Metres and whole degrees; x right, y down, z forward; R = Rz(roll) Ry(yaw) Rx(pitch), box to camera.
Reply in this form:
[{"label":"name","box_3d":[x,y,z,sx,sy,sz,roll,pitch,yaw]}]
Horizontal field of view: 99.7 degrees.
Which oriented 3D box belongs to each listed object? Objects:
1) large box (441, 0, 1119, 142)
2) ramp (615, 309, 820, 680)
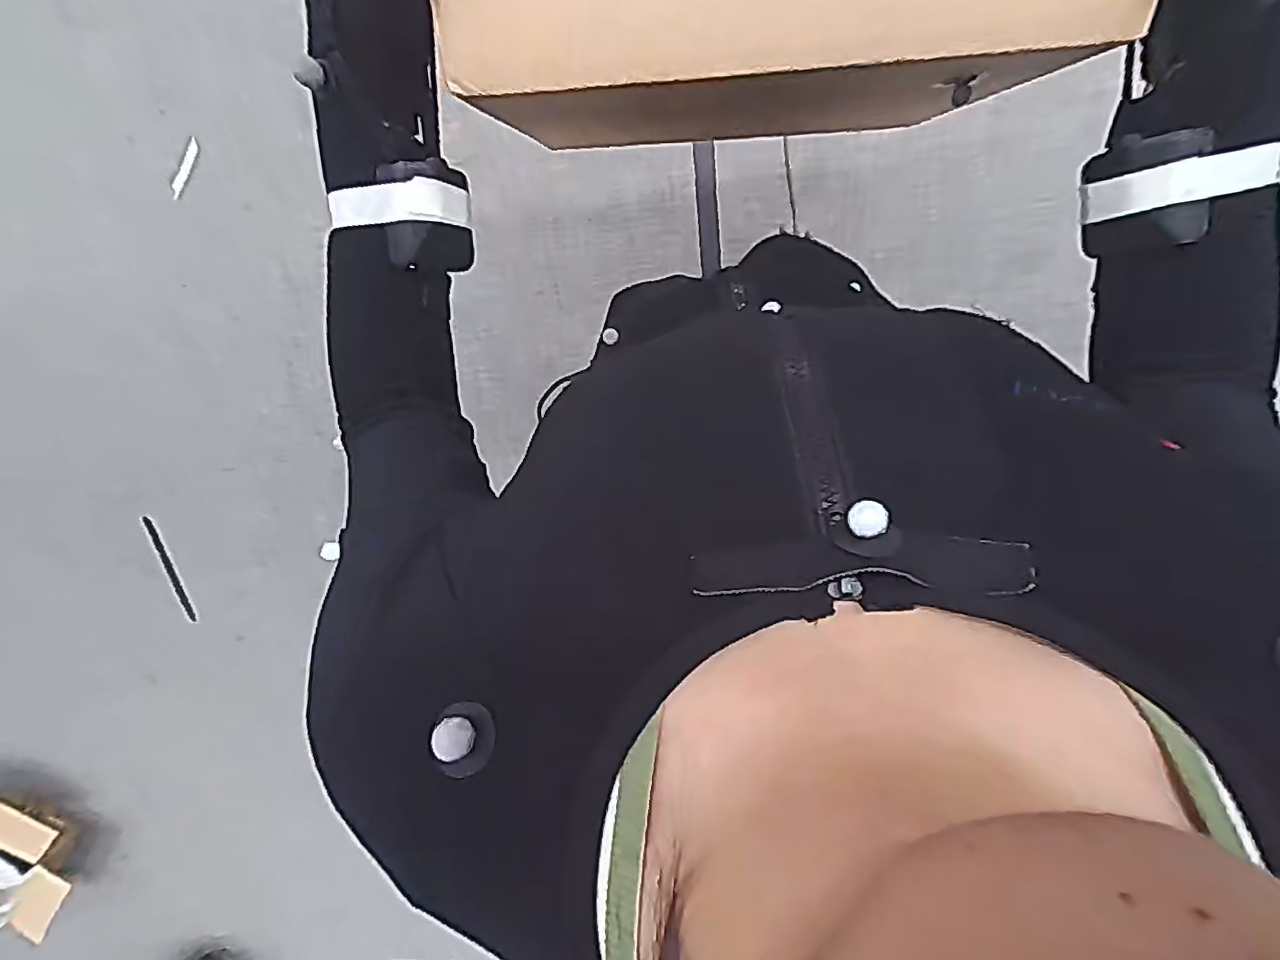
[{"label":"large box","box_3d":[0.078,-0.454,0.397,0.408,0.320,0.320,-2,116,3]},{"label":"ramp","box_3d":[0.218,0.072,1.481,0.509,0.206,0.991,-6,109,7]}]
